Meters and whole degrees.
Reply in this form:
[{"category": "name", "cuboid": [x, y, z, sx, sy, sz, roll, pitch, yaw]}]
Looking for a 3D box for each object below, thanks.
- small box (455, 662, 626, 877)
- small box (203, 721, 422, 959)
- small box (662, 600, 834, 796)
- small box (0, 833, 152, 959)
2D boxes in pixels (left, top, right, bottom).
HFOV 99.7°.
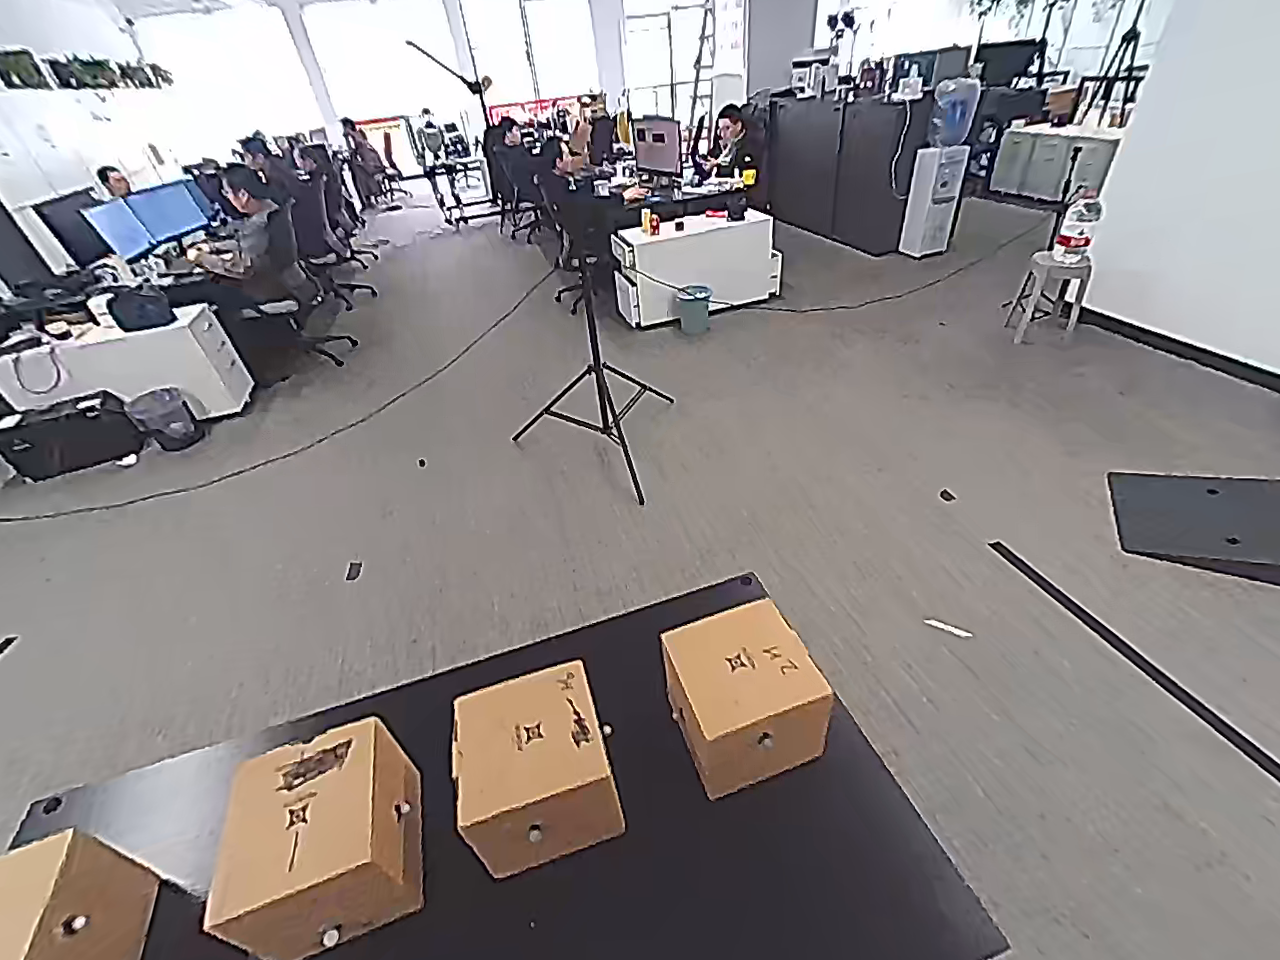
[{"category": "small box", "cuboid": [-0.129, 0.378, 0.708, 0.179, 0.176, 0.168, -15, 38, -10]}, {"category": "small box", "cuboid": [-0.377, 0.440, 0.662, 0.168, 0.176, 0.179, -16, 39, -12]}, {"category": "small box", "cuboid": [0.145, 0.306, 0.758, 0.179, 0.176, 0.168, -15, 38, -11]}, {"category": "small box", "cuboid": [-0.686, 0.536, 0.584, 0.168, 0.176, 0.179, -17, 38, -15]}]
